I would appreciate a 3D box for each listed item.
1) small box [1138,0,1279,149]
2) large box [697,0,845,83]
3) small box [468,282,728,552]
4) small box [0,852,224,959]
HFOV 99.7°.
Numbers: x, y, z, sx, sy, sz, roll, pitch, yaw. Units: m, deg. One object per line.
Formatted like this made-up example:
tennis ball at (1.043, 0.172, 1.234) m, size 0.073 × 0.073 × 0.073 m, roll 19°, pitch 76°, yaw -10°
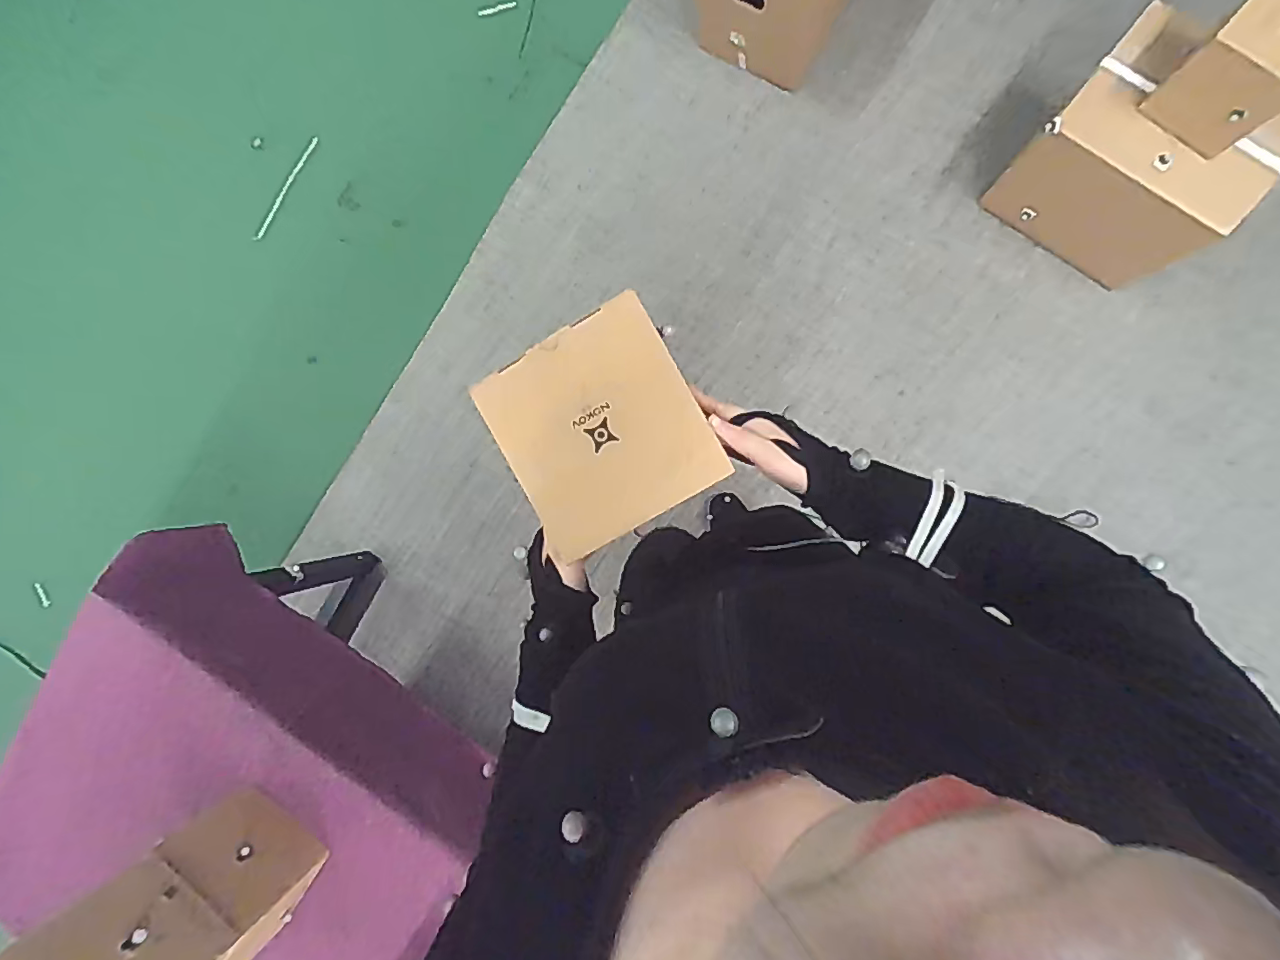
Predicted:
small box at (1.086, -0.744, 0.976) m, size 0.179 × 0.176 × 0.168 m, roll 43°, pitch 92°, yaw 6°
large box at (0.367, -1.315, 1.327) m, size 0.320 × 0.320 × 0.408 m, roll 33°, pitch 93°, yaw 7°
small box at (-0.027, -0.056, 0.529) m, size 0.168 × 0.176 × 0.179 m, roll -29°, pitch 90°, yaw 7°
small box at (-0.643, 0.594, 0.629) m, size 0.168 × 0.176 × 0.179 m, roll 37°, pitch 94°, yaw 6°
